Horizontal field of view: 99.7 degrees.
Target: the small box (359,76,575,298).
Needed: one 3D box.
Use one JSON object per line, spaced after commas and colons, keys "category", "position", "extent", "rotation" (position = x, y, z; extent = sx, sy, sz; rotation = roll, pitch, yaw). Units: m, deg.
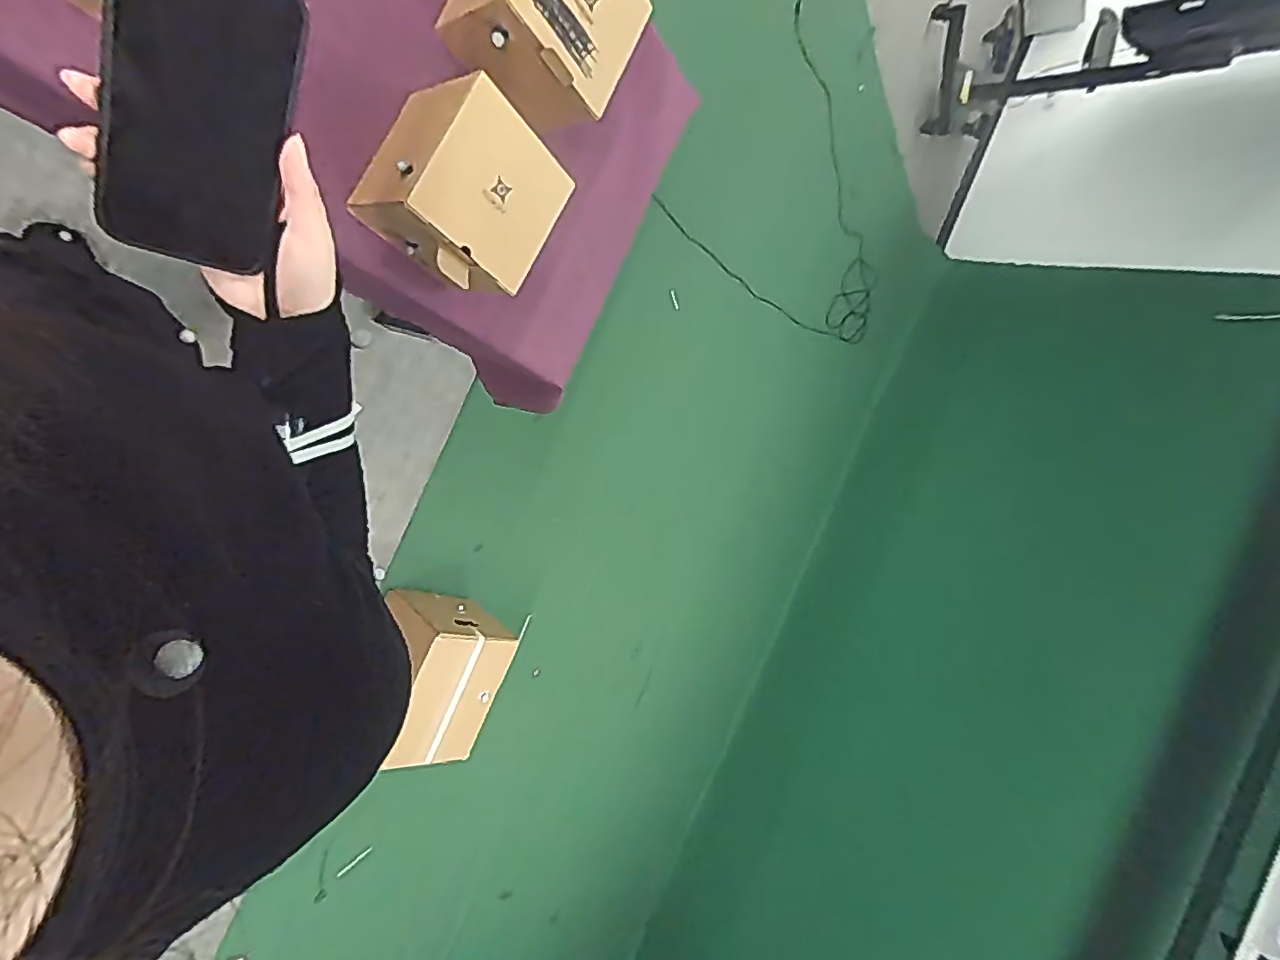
{"category": "small box", "position": [-0.222, -0.361, 0.690], "extent": [0.168, 0.176, 0.179], "rotation": [33, 83, -50]}
